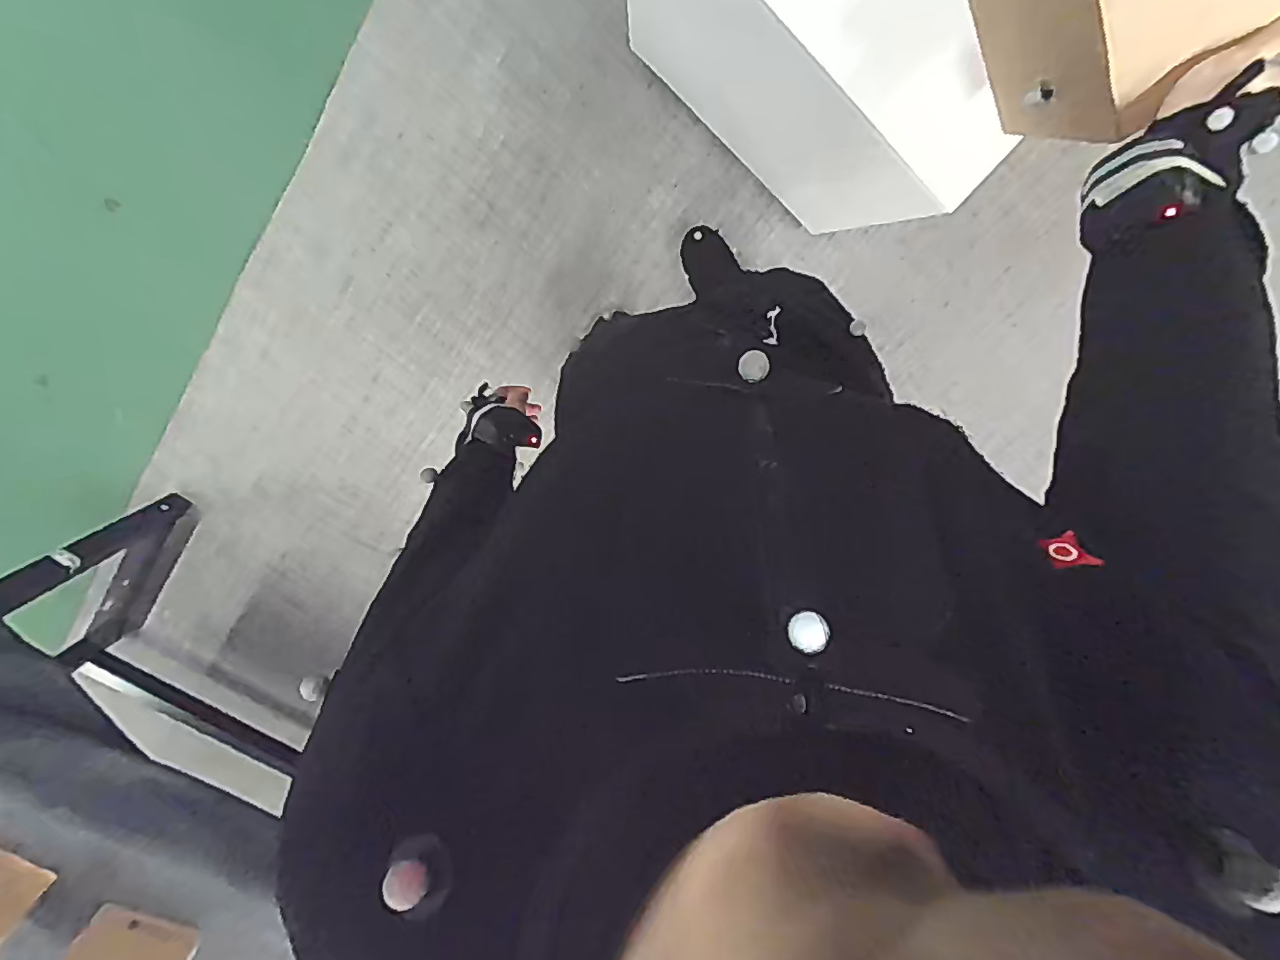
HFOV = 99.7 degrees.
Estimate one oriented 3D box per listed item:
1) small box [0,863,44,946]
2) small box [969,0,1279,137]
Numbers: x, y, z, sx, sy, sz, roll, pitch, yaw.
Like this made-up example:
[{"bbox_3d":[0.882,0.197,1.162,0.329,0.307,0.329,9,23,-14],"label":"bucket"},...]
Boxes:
[{"bbox_3d":[-1.072,0.694,0.805,0.168,0.176,0.179,42,106,-14],"label":"small box"},{"bbox_3d":[0.384,-0.401,0.413,0.168,0.176,0.179,-31,117,19],"label":"small box"}]
